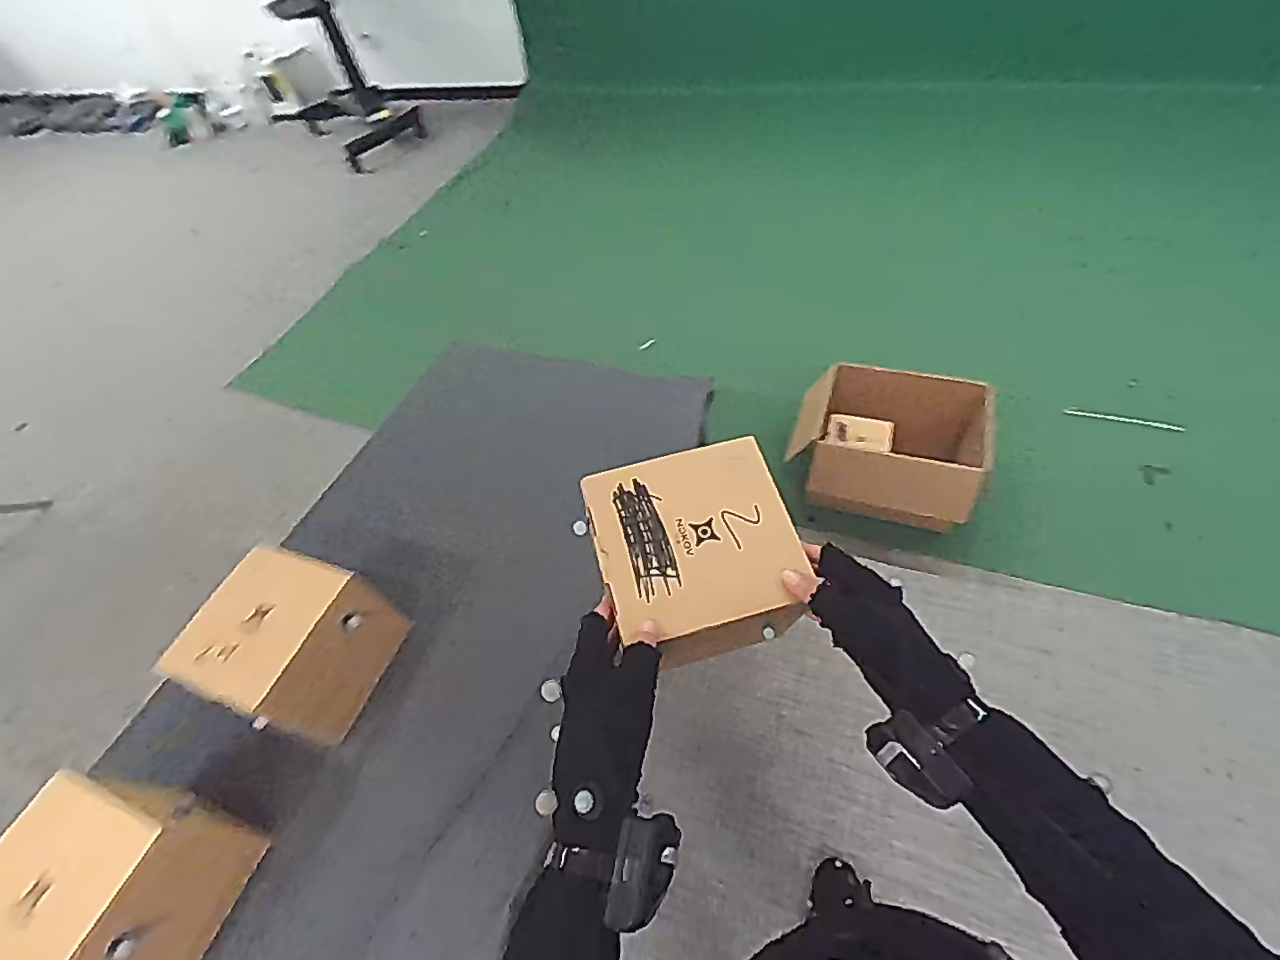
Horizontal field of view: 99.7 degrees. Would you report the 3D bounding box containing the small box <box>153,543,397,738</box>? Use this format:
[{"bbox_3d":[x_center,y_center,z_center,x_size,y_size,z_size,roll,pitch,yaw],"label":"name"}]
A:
[{"bbox_3d":[-0.455,0.214,0.713,0.168,0.176,0.179,12,58,17],"label":"small box"}]

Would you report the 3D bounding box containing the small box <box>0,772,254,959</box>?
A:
[{"bbox_3d":[-0.562,0.440,0.572,0.168,0.176,0.179,12,58,17],"label":"small box"}]
